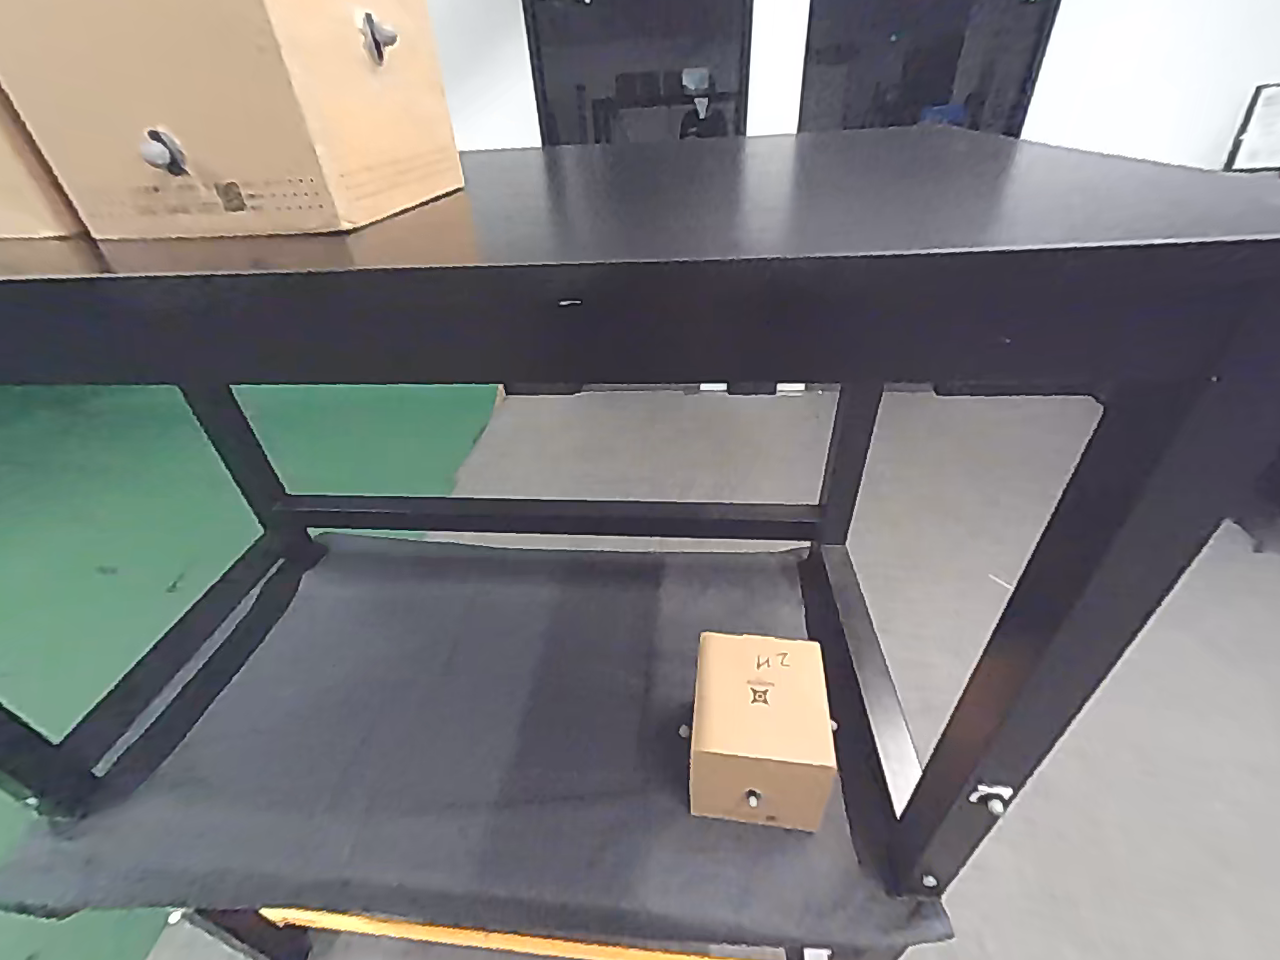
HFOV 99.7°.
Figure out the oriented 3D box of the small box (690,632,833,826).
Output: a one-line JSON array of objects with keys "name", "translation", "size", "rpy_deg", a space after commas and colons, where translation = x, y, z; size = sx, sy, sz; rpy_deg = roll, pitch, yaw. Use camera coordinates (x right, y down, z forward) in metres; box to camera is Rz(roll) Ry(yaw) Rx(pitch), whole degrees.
[{"name": "small box", "translation": [0.157, 0.336, 0.735], "size": [0.168, 0.176, 0.179], "rpy_deg": [3, 36, 9]}]
